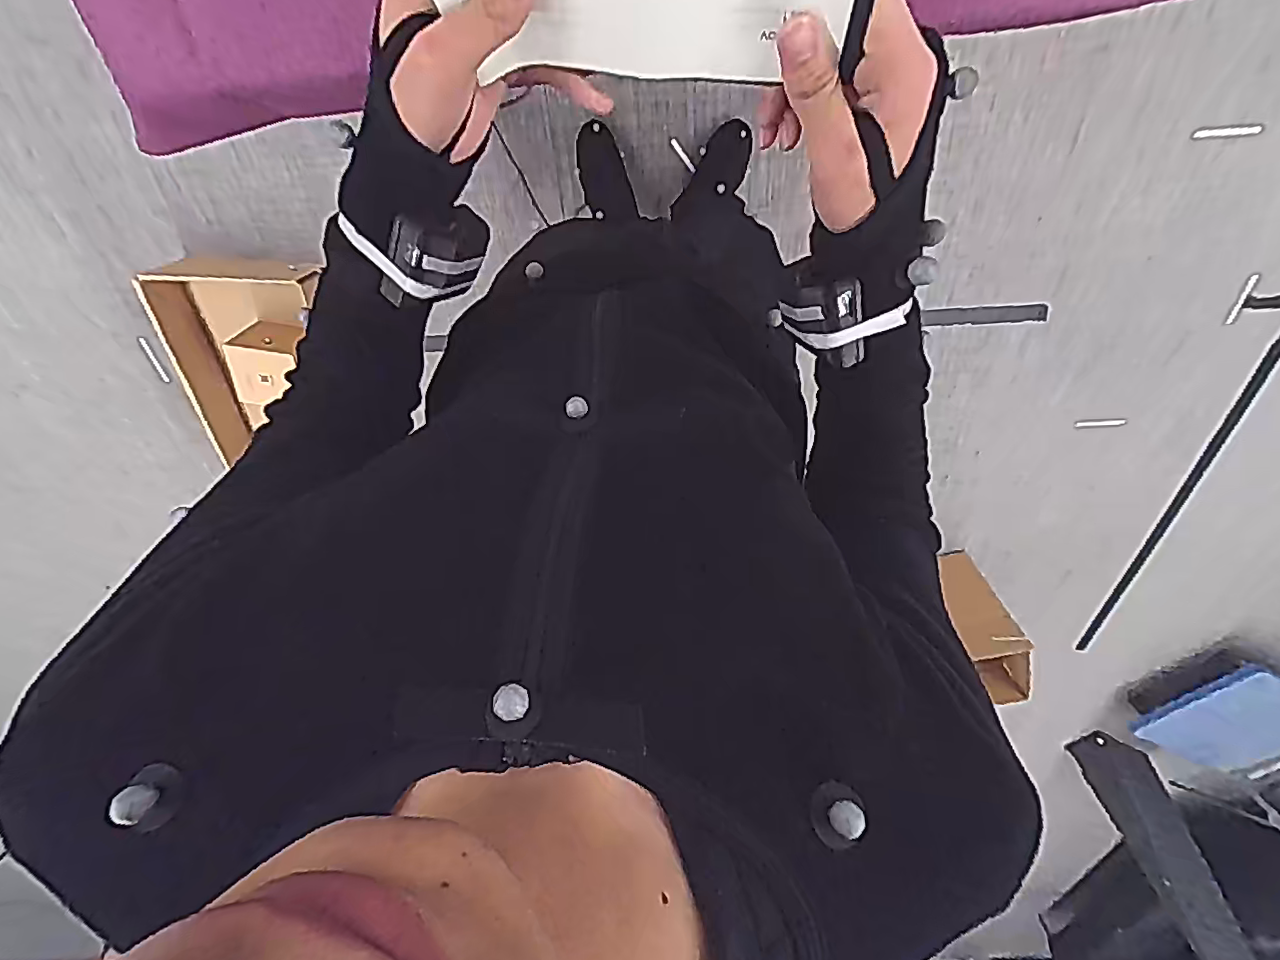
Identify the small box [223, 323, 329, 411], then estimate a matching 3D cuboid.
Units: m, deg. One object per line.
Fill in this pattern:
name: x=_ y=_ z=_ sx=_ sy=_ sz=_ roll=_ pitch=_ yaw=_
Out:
small box: x=-0.967 y=-0.309 z=1.461 sx=0.179 sy=0.176 sz=0.168 roll=8 pitch=126 yaw=-7
